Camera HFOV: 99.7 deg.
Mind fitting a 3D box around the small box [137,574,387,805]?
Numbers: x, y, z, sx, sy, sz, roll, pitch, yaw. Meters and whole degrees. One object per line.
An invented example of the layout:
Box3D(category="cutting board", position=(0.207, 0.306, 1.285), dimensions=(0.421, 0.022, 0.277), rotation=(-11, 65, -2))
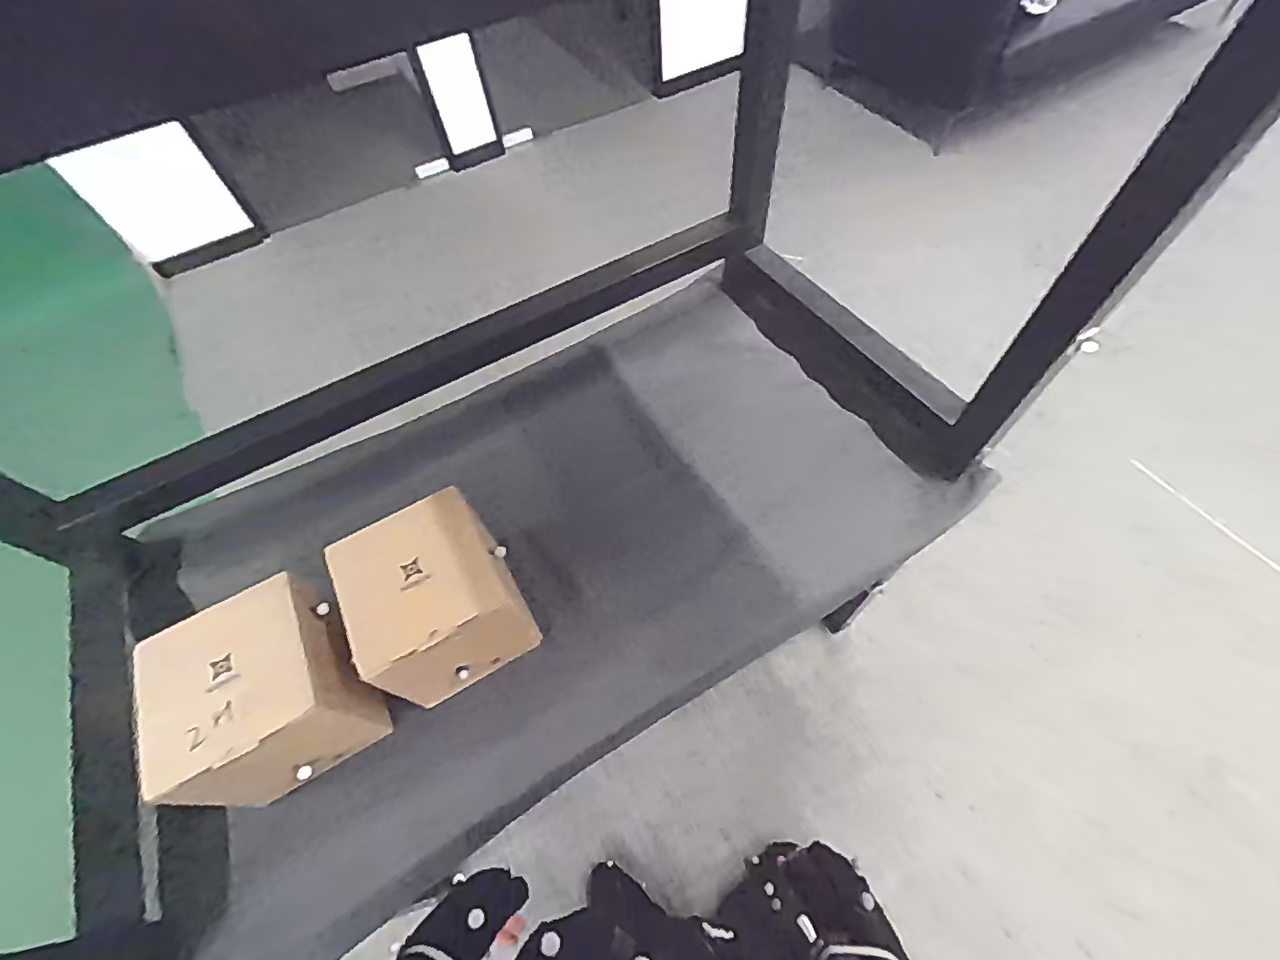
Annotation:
Box3D(category="small box", position=(-0.426, 0.247, 0.627), dimensions=(0.168, 0.176, 0.179), rotation=(-28, 59, -13))
